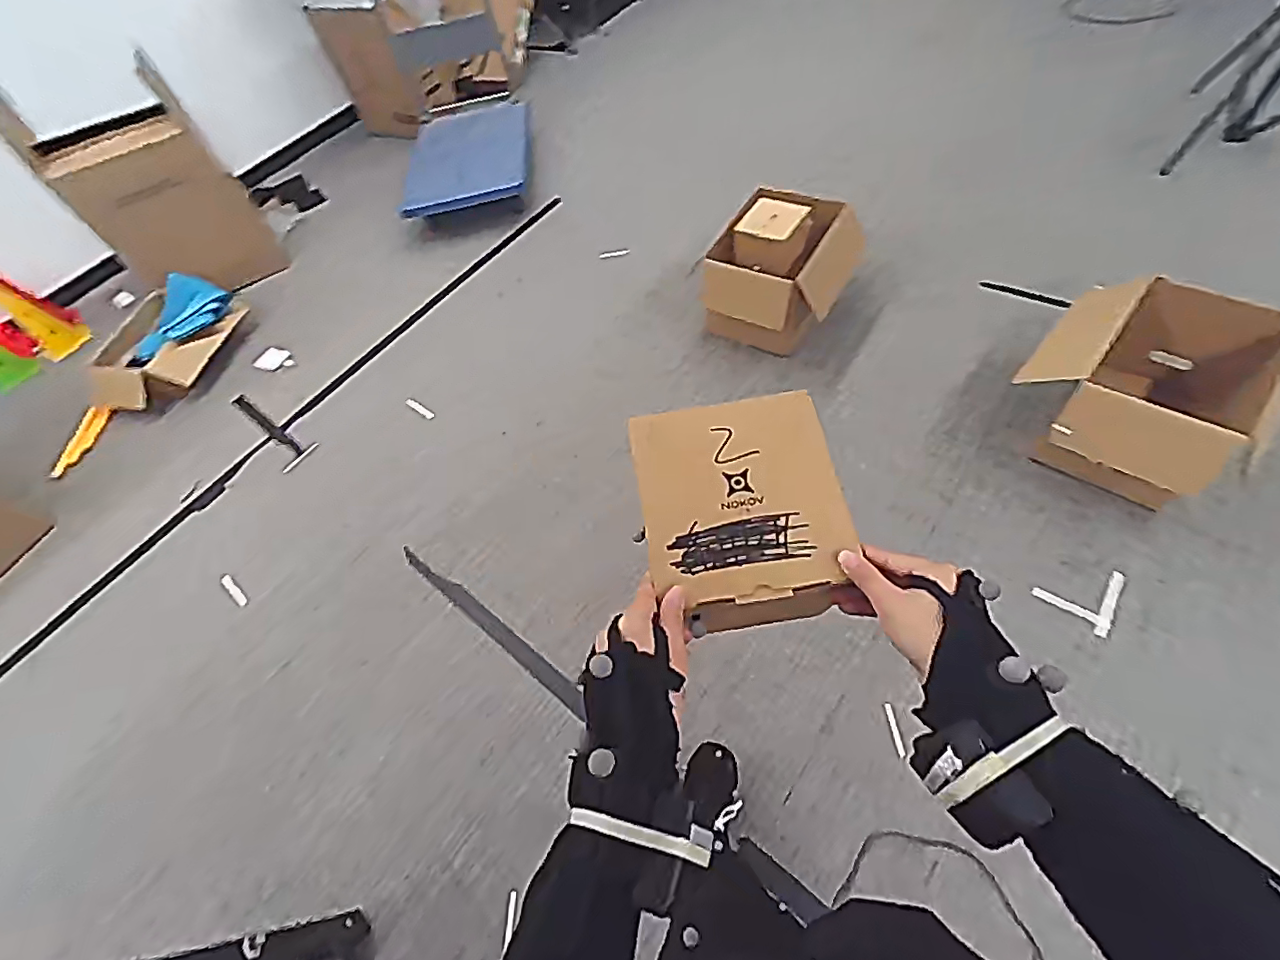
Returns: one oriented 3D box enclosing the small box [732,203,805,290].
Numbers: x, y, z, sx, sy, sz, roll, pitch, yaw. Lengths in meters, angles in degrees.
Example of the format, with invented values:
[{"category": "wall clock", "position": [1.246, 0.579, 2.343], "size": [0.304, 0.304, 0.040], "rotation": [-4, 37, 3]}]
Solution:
[{"category": "small box", "position": [0.404, -0.740, 1.714], "size": [0.168, 0.176, 0.179], "rotation": [26, 67, 25]}]
